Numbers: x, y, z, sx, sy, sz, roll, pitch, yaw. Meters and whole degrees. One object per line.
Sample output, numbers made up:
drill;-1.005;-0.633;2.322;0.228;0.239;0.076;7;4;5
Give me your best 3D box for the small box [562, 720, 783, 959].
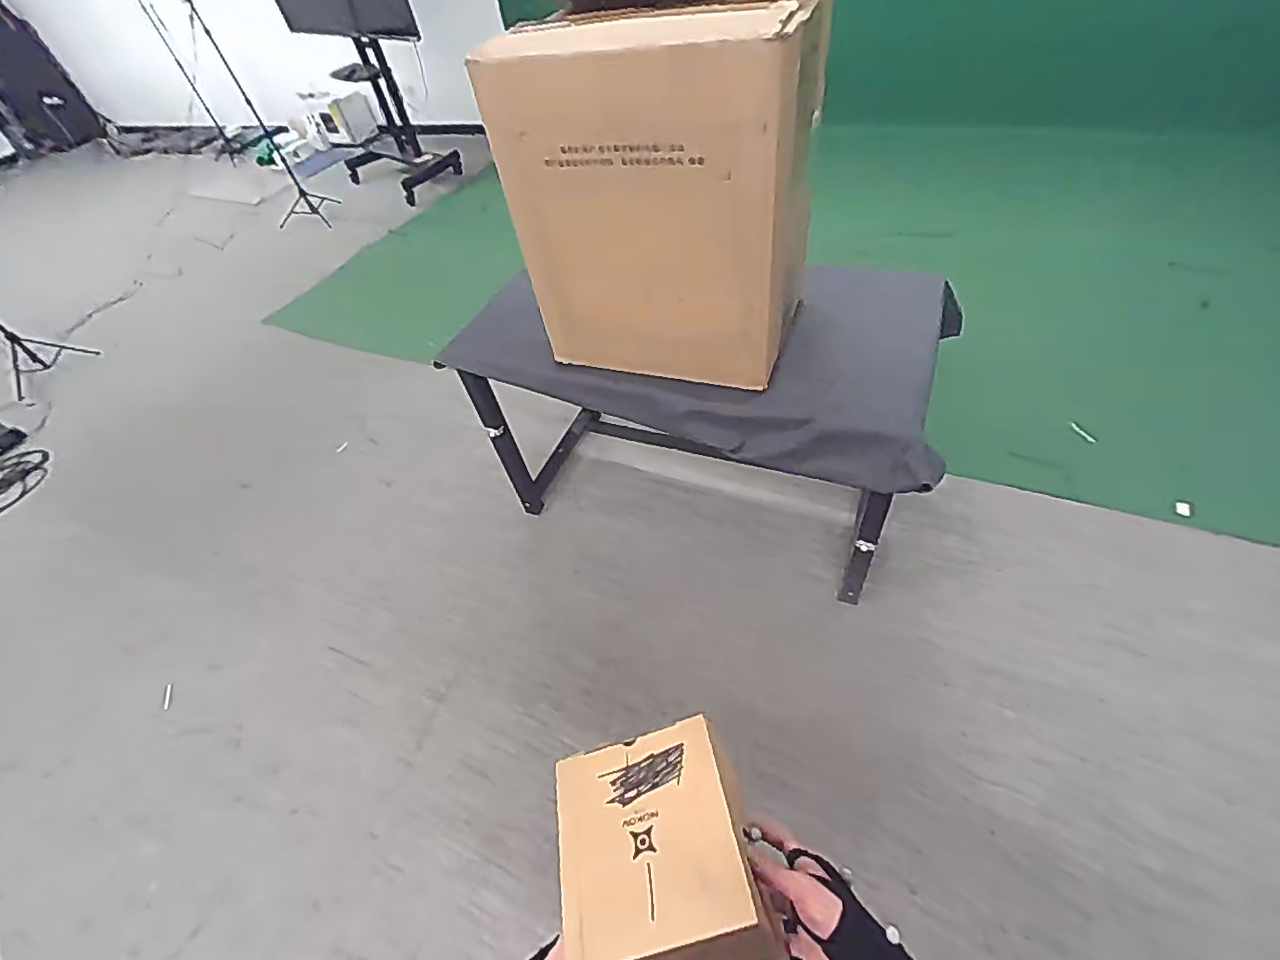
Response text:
small box;0.030;0.382;0.546;0.168;0.176;0.179;-20;40;5
